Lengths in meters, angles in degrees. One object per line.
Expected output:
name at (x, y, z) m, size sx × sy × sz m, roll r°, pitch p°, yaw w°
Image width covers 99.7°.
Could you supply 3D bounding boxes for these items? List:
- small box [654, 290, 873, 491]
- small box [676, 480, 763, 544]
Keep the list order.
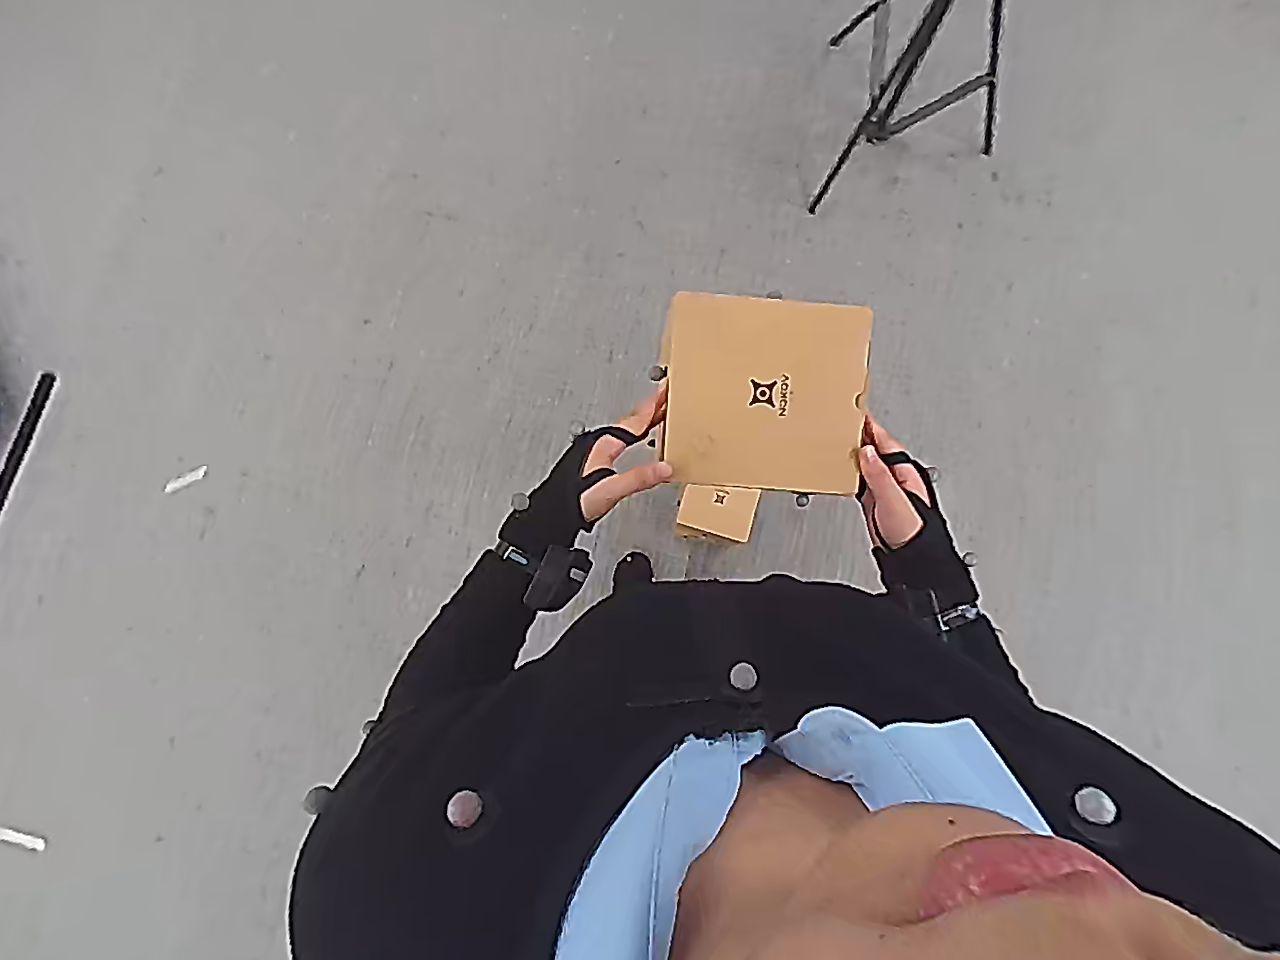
small box at (0.107, -0.078, 0.543) m, size 0.179 × 0.176 × 0.168 m, roll 3°, pitch 92°, yaw -2°
small box at (0.187, 0.047, 1.288) m, size 0.168 × 0.176 × 0.179 m, roll 17°, pitch 81°, yaw 4°
